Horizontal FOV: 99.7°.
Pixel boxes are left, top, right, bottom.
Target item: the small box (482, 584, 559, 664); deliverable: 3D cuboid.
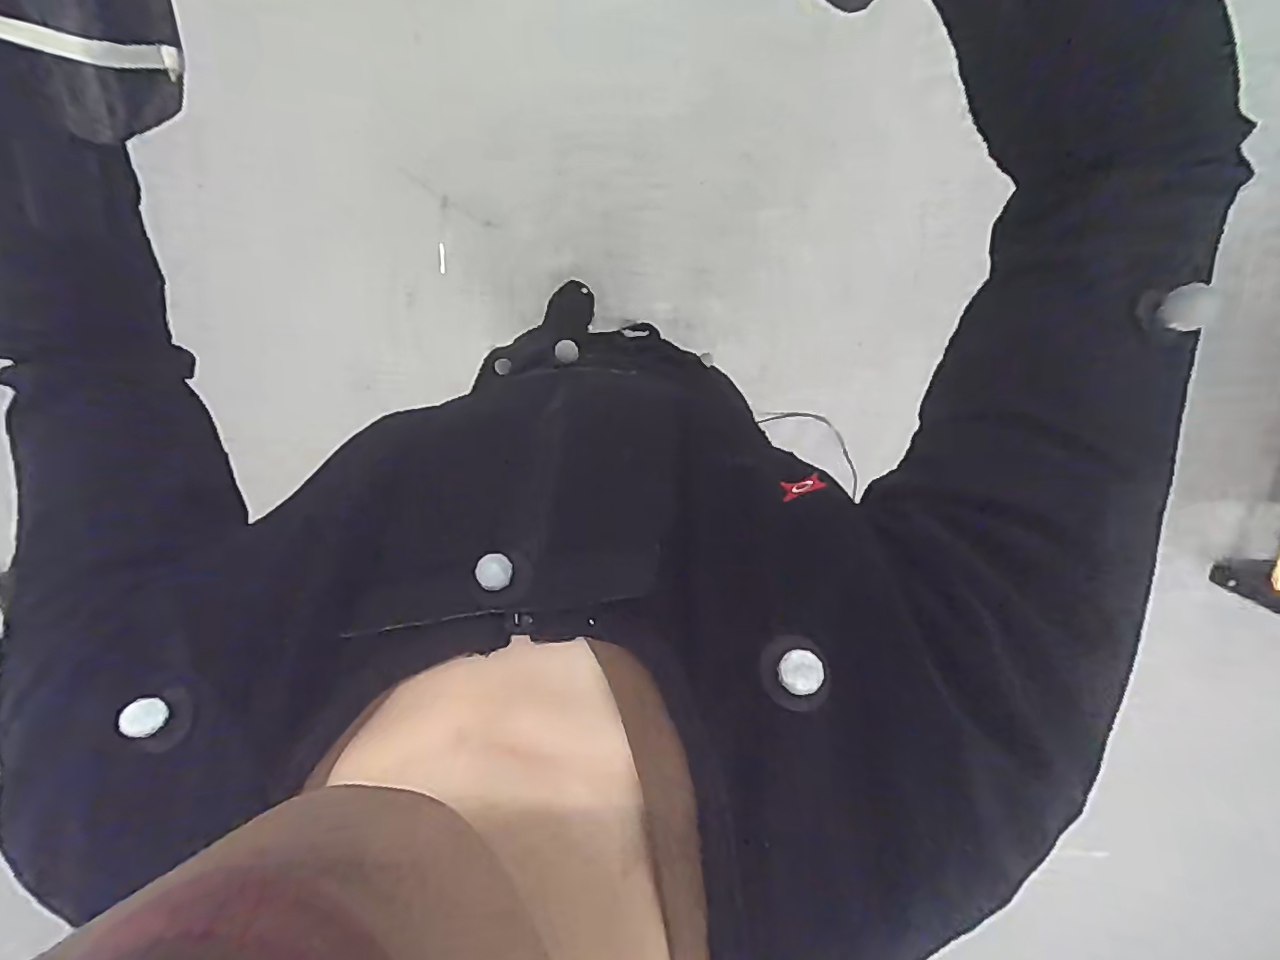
[{"bbox_3d":[-0.337,0.409,1.550,0.179,0.176,0.168,-1,107,2],"label":"small box"}]
